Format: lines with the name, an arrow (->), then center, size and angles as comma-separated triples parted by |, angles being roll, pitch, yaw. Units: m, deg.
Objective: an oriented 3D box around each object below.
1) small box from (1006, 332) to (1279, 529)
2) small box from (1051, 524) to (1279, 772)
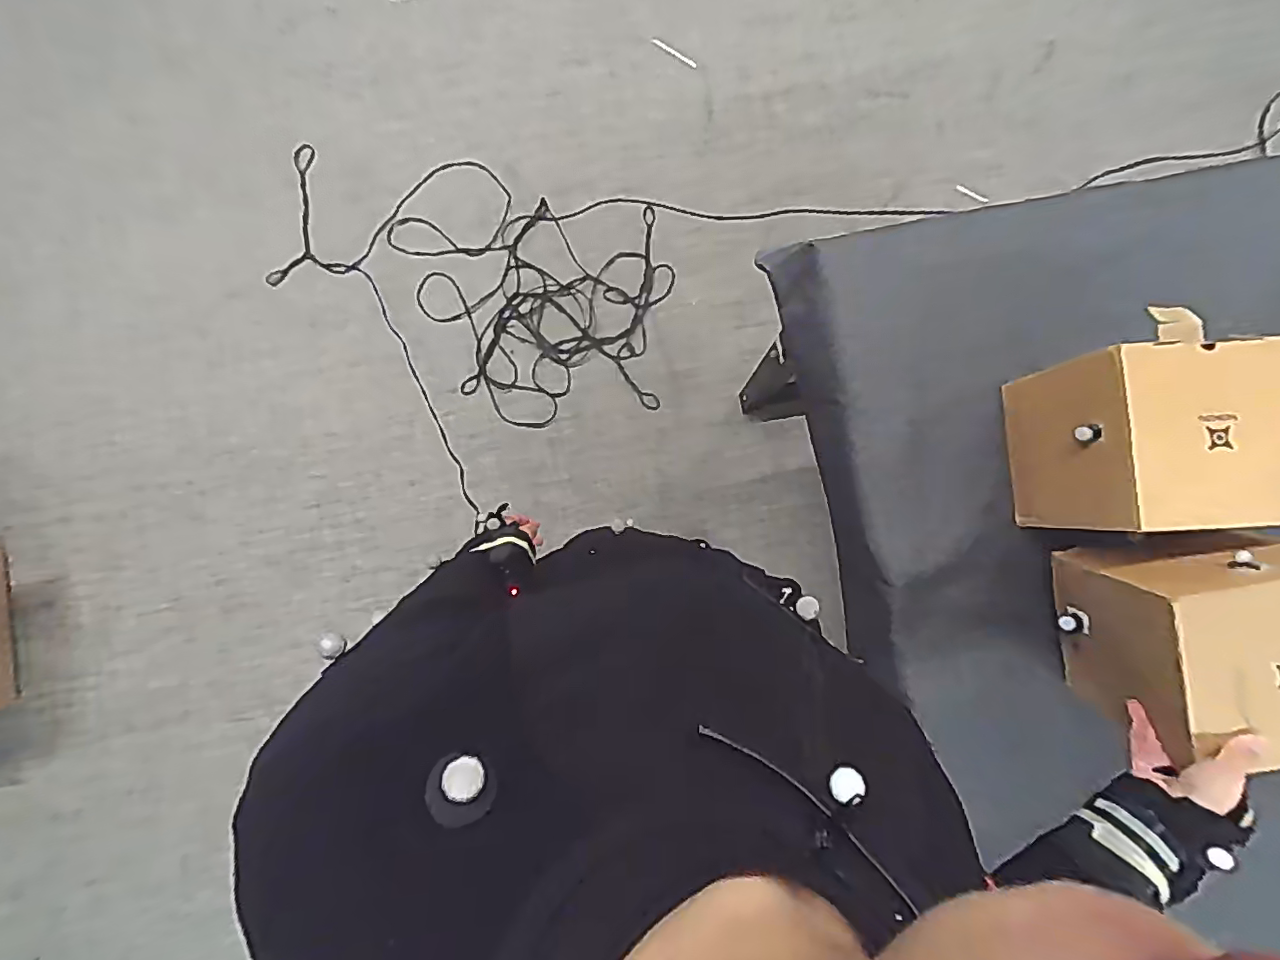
small box -> 0.528, -0.041, 0.572 | 0.168, 0.176, 0.179 | -3, 85, 0
small box -> 0.559, 0.146, 0.531 | 0.179, 0.176, 0.168 | -13, 94, 6
